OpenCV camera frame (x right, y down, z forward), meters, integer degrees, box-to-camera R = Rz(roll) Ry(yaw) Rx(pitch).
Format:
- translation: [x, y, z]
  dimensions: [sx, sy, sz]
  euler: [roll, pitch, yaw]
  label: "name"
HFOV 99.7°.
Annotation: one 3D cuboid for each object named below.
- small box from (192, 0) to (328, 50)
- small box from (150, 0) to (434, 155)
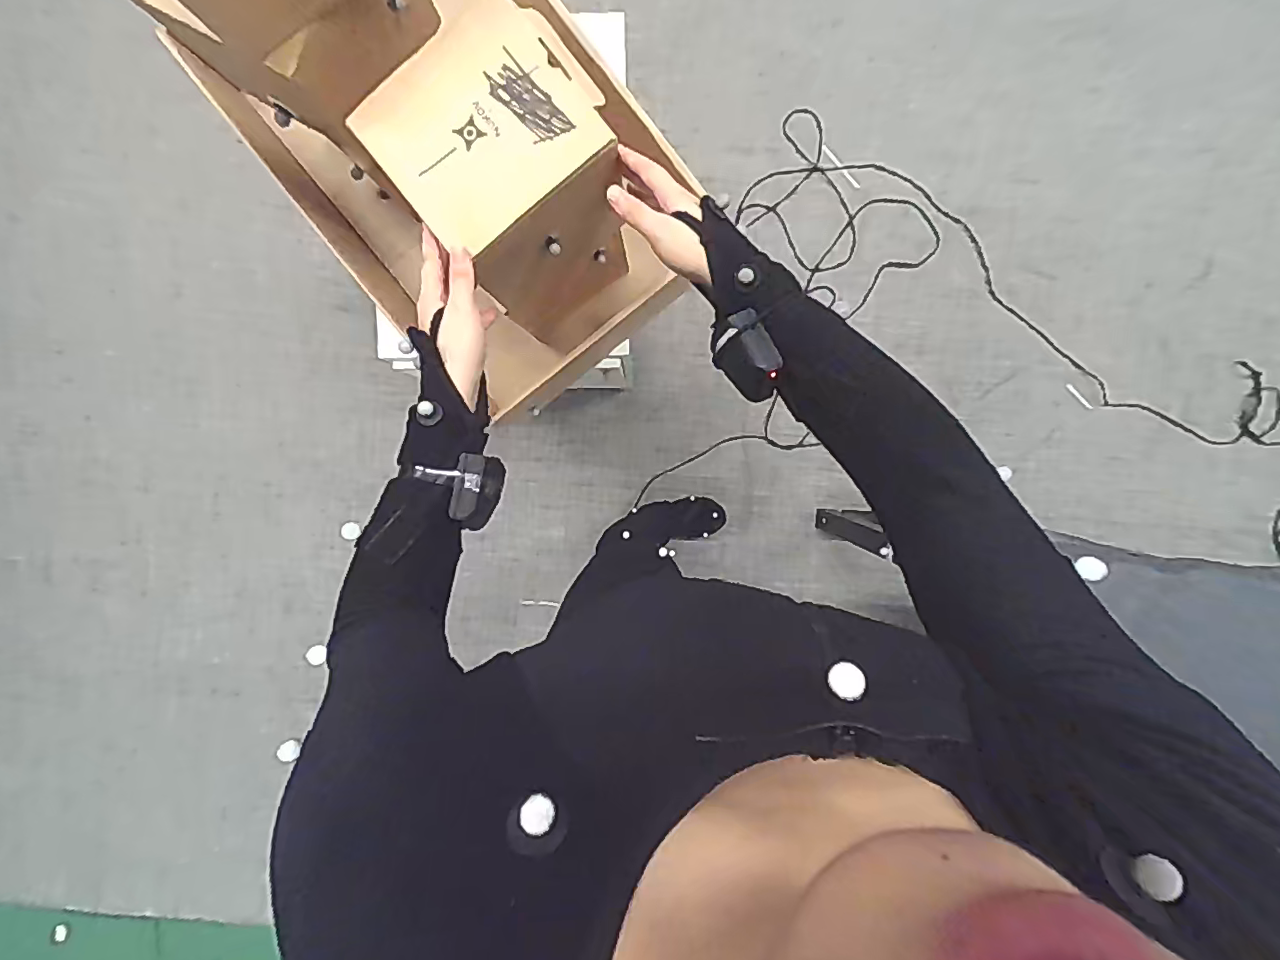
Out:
- translation: [-0.304, -0.468, 0.374]
  dimensions: [0.179, 0.176, 0.168]
  euler: [-33, 95, 4]
  label: "small box"
- translation: [-0.332, -0.475, 0.539]
  dimensions: [0.168, 0.176, 0.179]
  euler: [26, 97, -2]
  label: "small box"
